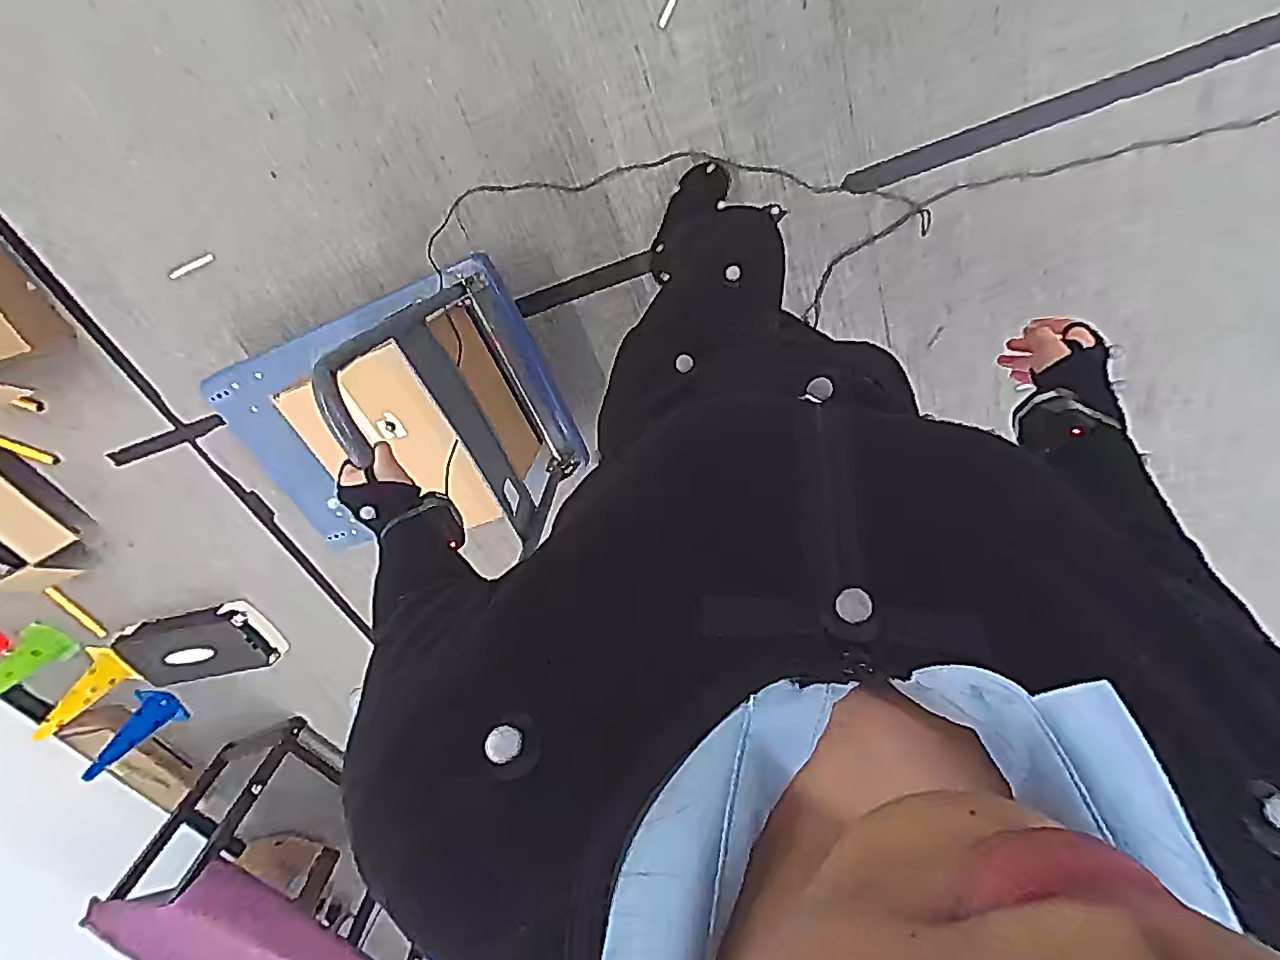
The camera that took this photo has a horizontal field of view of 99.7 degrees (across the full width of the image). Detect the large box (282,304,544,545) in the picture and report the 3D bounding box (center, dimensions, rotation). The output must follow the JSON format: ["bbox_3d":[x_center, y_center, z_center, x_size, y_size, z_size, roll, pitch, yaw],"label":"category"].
[{"bbox_3d":[-0.475,-0.128,1.234,0.320,0.320,0.408,-18,117,15],"label":"large box"}]
